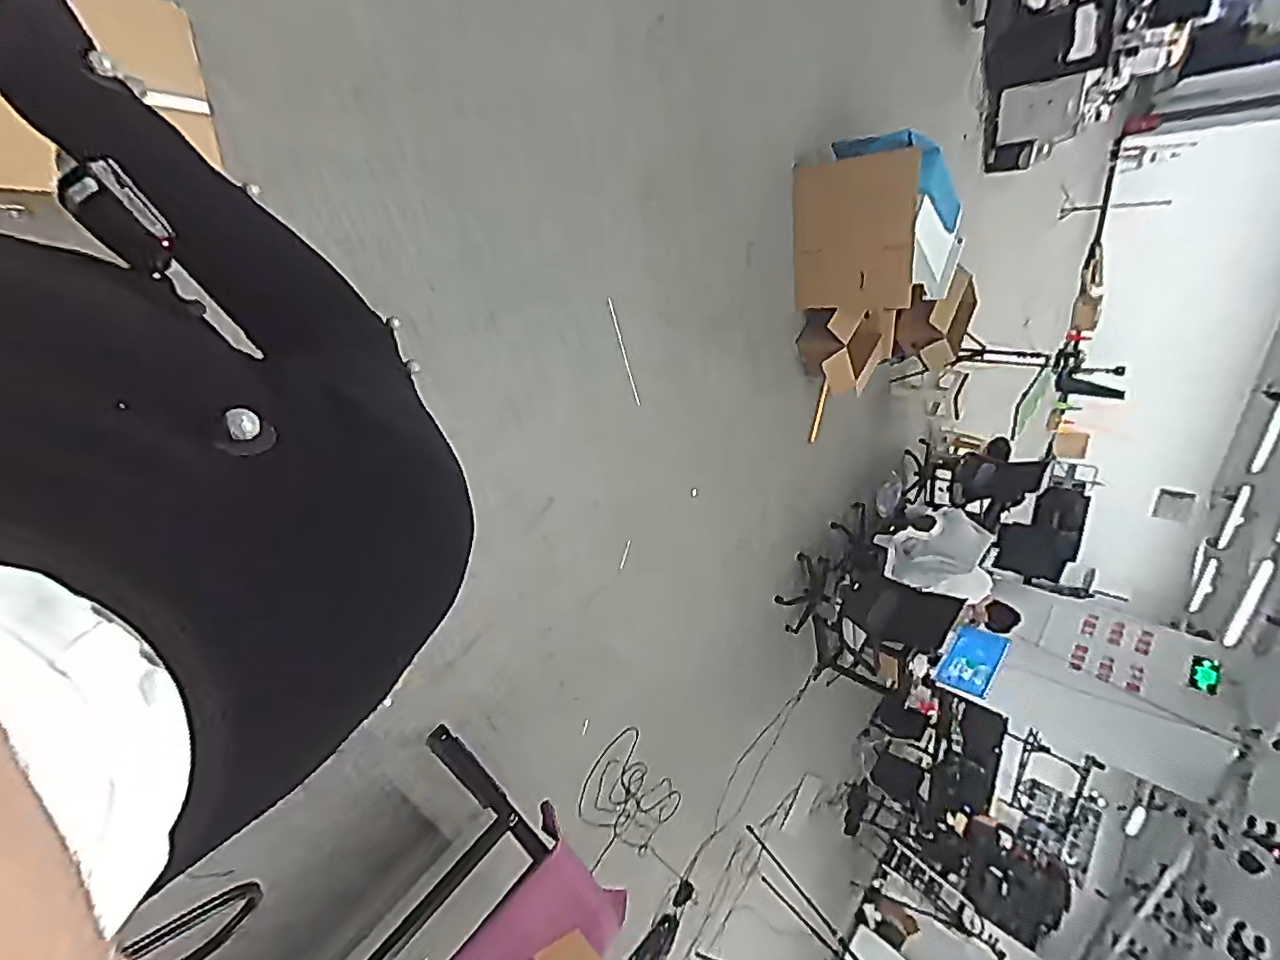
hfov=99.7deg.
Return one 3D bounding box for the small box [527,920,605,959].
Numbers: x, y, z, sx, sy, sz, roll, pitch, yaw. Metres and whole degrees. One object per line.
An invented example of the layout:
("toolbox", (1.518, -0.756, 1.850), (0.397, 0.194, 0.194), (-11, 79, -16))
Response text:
("small box", (-0.232, 1.450, 1.572), (0.179, 0.176, 0.168), (11, 96, -48))
